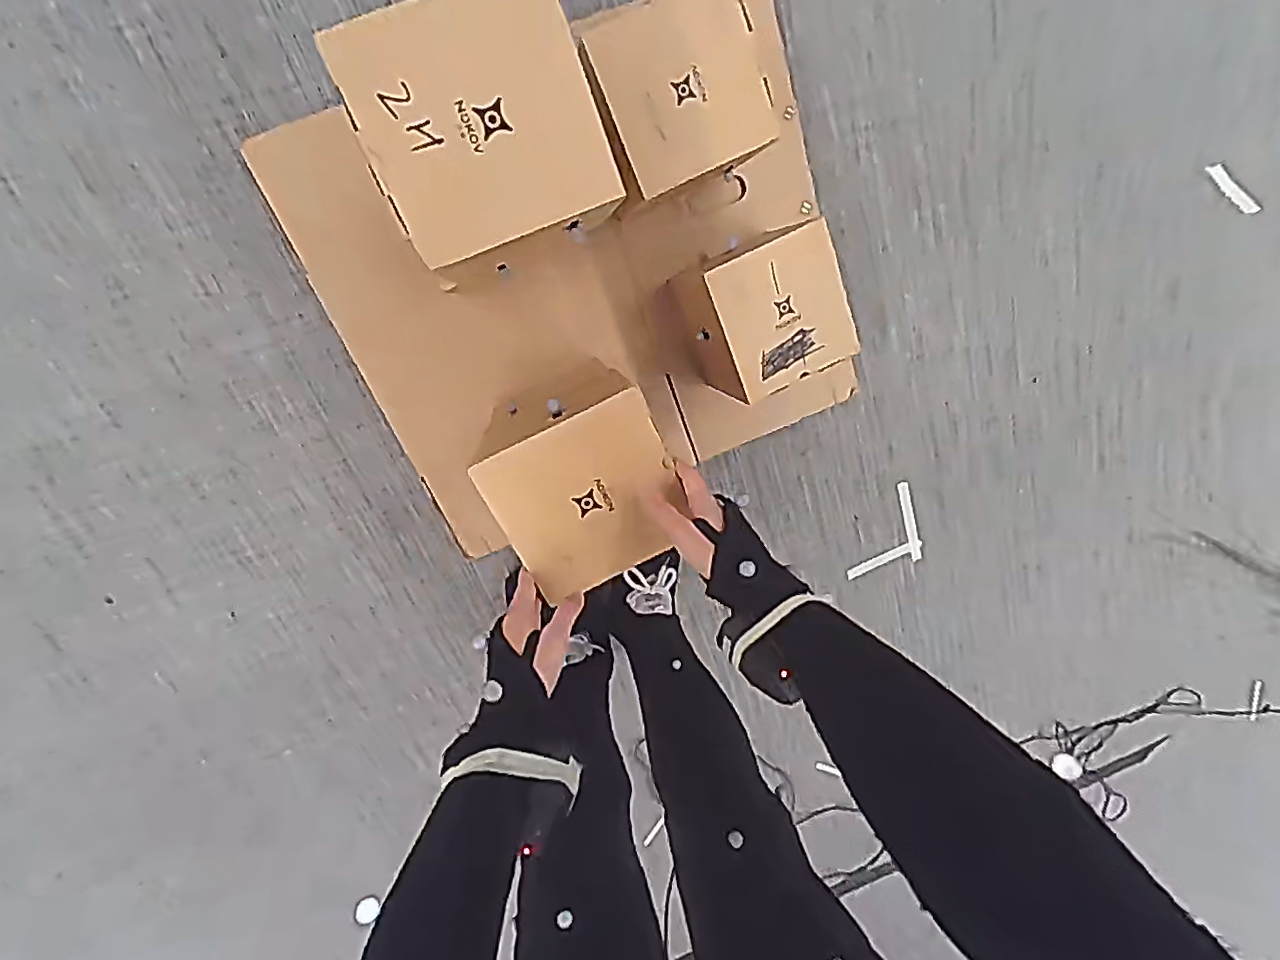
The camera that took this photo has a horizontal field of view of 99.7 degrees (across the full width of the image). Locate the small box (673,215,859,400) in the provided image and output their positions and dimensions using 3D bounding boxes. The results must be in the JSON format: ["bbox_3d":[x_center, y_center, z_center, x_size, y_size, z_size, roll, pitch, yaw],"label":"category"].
[{"bbox_3d":[0.163,-0.234,0.739,0.168,0.176,0.179,-26,111,-3],"label":"small box"}]

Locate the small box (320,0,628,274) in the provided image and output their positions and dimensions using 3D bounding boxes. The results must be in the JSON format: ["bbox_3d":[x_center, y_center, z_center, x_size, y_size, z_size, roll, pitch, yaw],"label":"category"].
[{"bbox_3d":[-0.131,-0.295,0.477,0.179,0.176,0.168,-23,110,-4],"label":"small box"}]

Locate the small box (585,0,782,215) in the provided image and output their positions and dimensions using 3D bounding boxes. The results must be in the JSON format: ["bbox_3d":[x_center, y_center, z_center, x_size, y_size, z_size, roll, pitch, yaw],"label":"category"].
[{"bbox_3d":[0.036,-0.441,0.645,0.179,0.176,0.168,-27,110,-2],"label":"small box"}]

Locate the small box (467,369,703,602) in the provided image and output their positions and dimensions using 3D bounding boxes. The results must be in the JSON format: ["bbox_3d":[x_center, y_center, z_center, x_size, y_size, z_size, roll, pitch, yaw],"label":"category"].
[{"bbox_3d":[-0.059,-0.007,0.584,0.179,0.176,0.168,-28,109,-2],"label":"small box"}]

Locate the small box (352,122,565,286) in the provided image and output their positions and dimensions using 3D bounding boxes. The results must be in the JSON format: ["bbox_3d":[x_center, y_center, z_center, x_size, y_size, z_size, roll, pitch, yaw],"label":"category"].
[{"bbox_3d":[-0.186,-0.337,0.629,0.179,0.176,0.168,-26,112,-1],"label":"small box"}]
